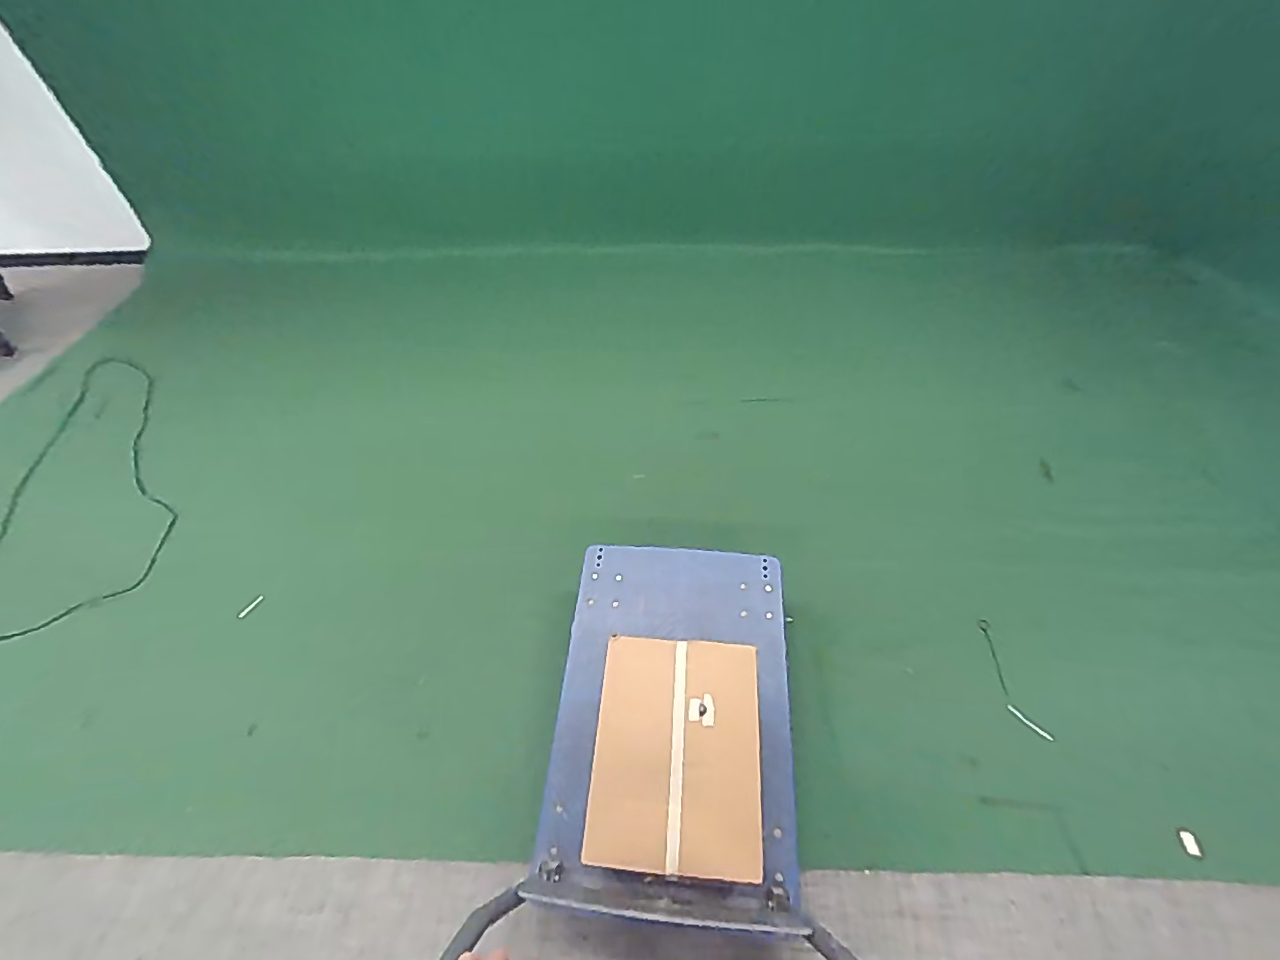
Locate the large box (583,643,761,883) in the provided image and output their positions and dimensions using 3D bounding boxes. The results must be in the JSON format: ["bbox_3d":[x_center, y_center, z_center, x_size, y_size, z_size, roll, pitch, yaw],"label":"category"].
[{"bbox_3d":[0.076,0.606,1.160,0.320,0.320,0.408,3,55,5],"label":"large box"}]
